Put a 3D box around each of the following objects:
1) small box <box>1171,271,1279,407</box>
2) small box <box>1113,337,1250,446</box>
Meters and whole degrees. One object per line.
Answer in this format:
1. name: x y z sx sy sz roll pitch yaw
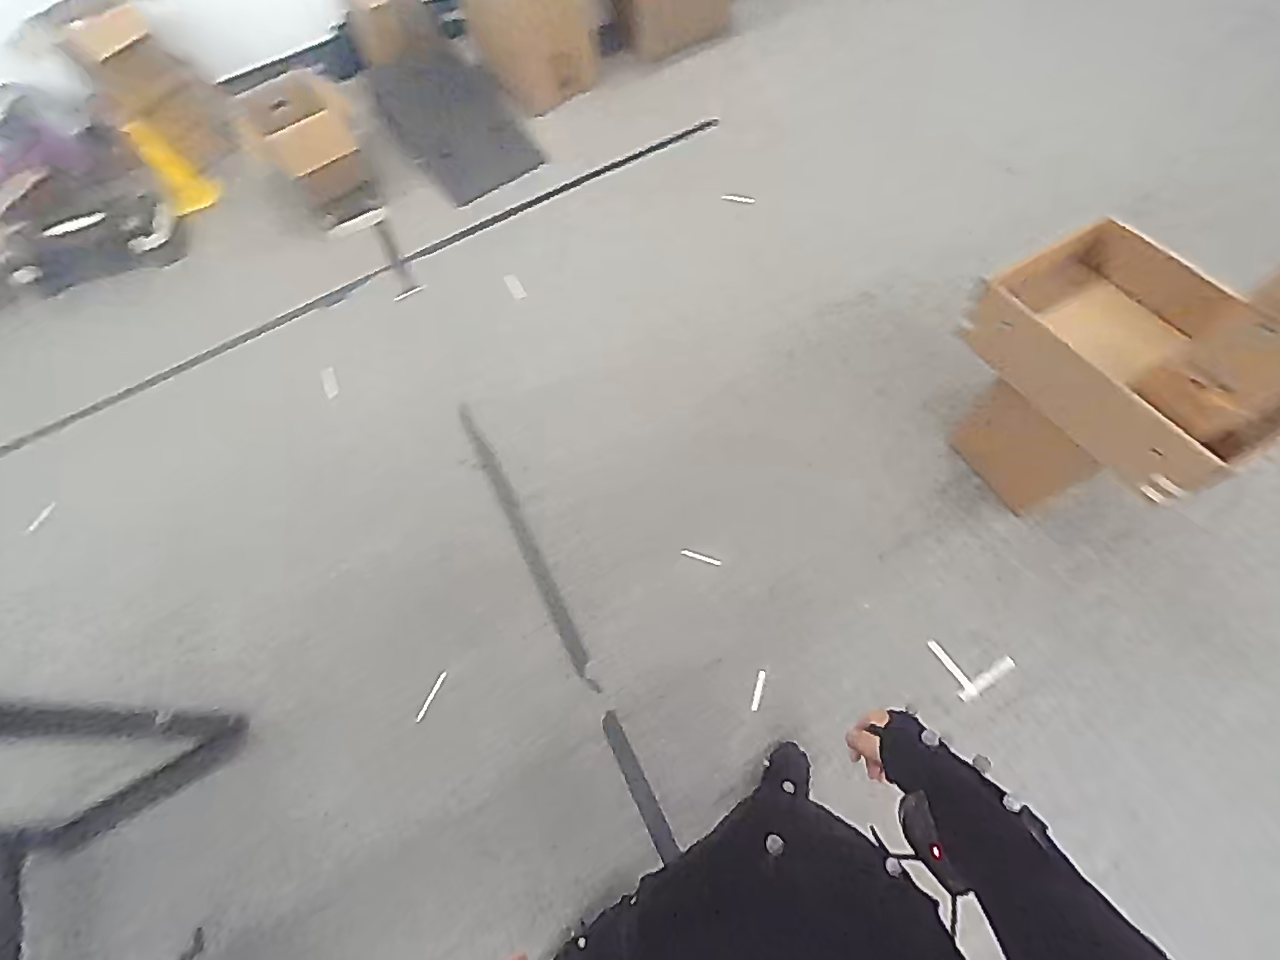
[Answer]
1. small box: 1.171 -0.268 1.004 0.179 0.176 0.168 -26 64 -8
2. small box: 1.174 -0.199 1.153 0.179 0.176 0.168 -22 65 -6
